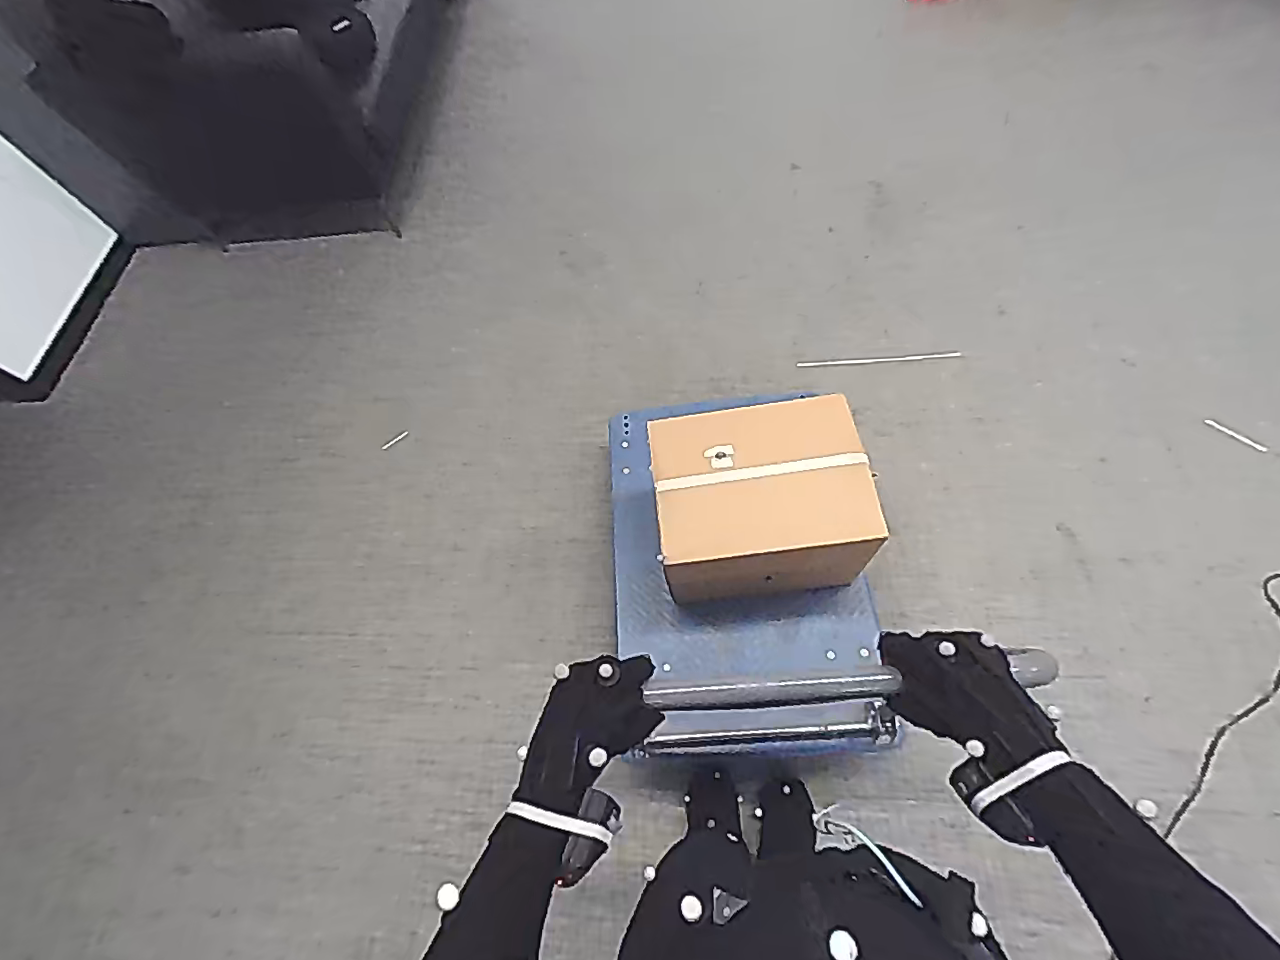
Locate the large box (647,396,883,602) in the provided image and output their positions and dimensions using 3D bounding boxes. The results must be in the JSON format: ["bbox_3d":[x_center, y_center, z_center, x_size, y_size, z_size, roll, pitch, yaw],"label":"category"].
[{"bbox_3d":[0.250,0.059,1.184,0.408,0.320,0.320,-10,63,5],"label":"large box"}]
